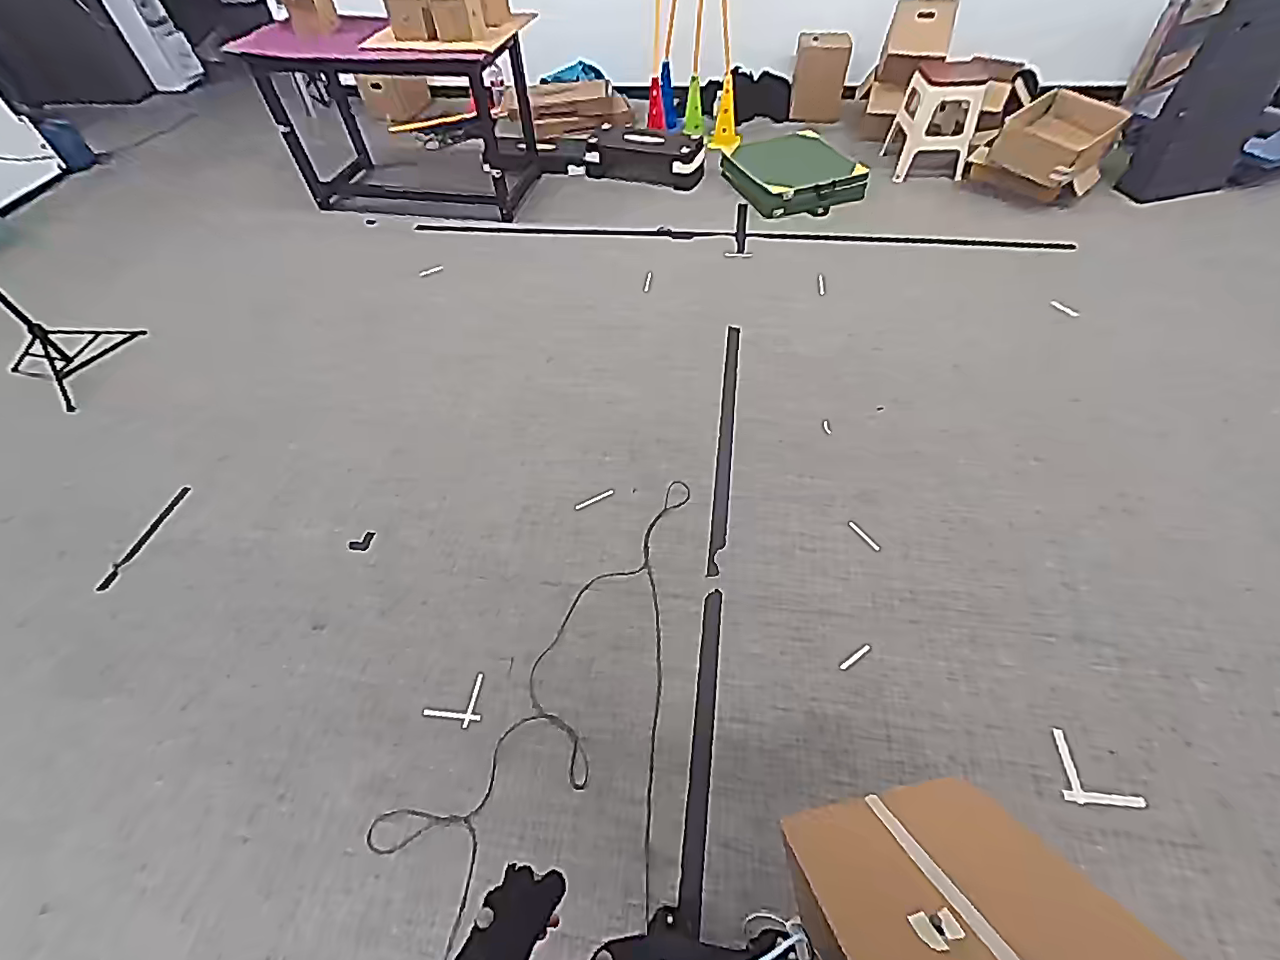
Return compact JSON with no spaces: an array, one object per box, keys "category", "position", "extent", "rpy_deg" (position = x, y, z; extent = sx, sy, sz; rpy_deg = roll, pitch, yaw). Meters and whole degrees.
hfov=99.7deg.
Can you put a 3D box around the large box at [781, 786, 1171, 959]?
[{"category":"large box","position":[0.416,0.673,0.684],"extent":[0.320,0.408,0.320],"rpy_deg":[-13,89,-3]}]
